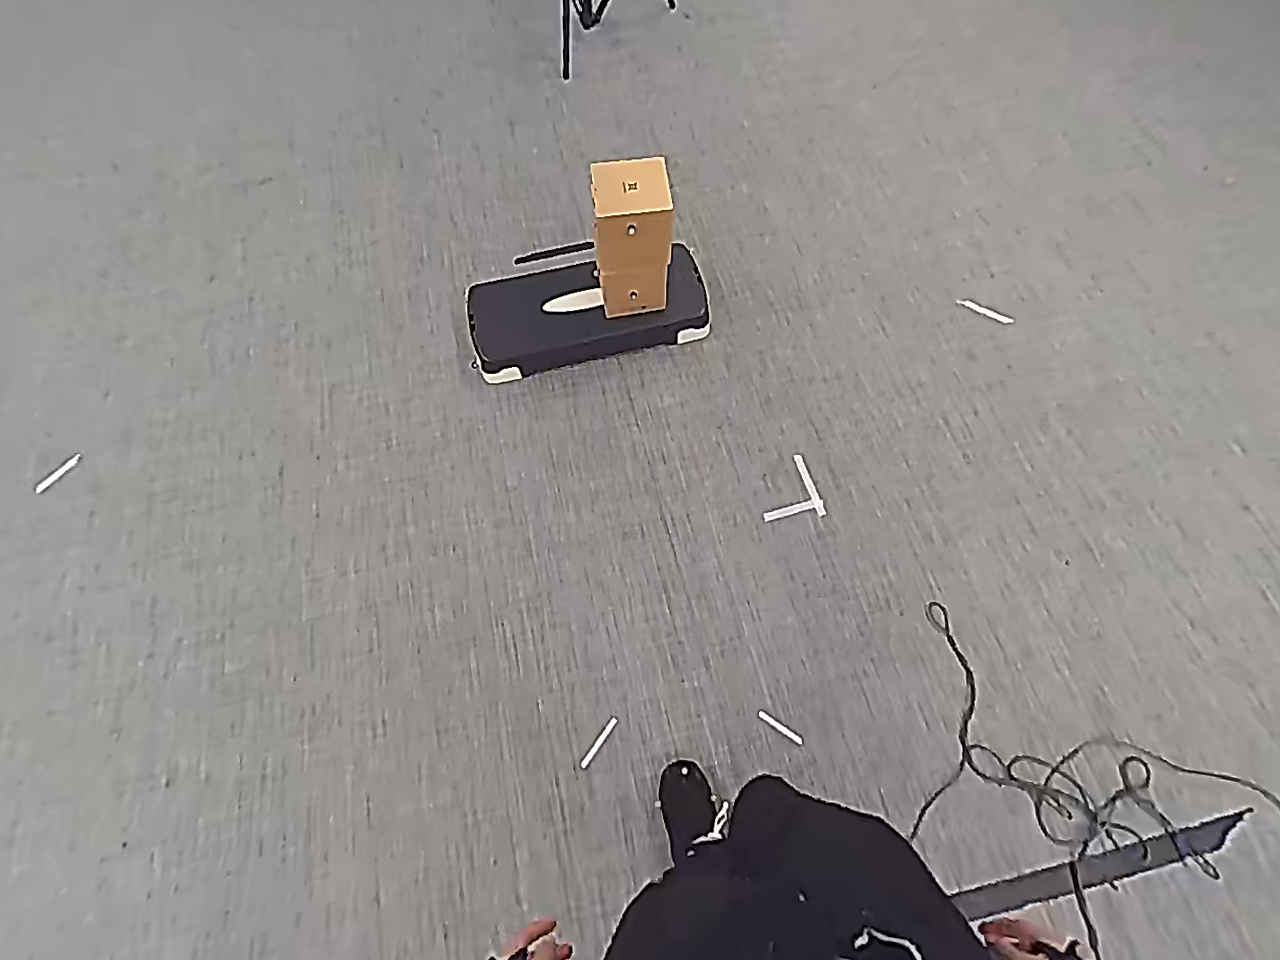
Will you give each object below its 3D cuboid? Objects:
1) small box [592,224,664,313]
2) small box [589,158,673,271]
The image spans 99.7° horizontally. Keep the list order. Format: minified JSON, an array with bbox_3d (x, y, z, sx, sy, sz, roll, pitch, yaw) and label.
[{"bbox_3d":[-0.029,-0.562,1.435,0.168,0.176,0.179,-9,68,-3],"label":"small box"},{"bbox_3d":[-0.021,-0.625,1.285,0.179,0.176,0.168,-7,69,-1],"label":"small box"}]
